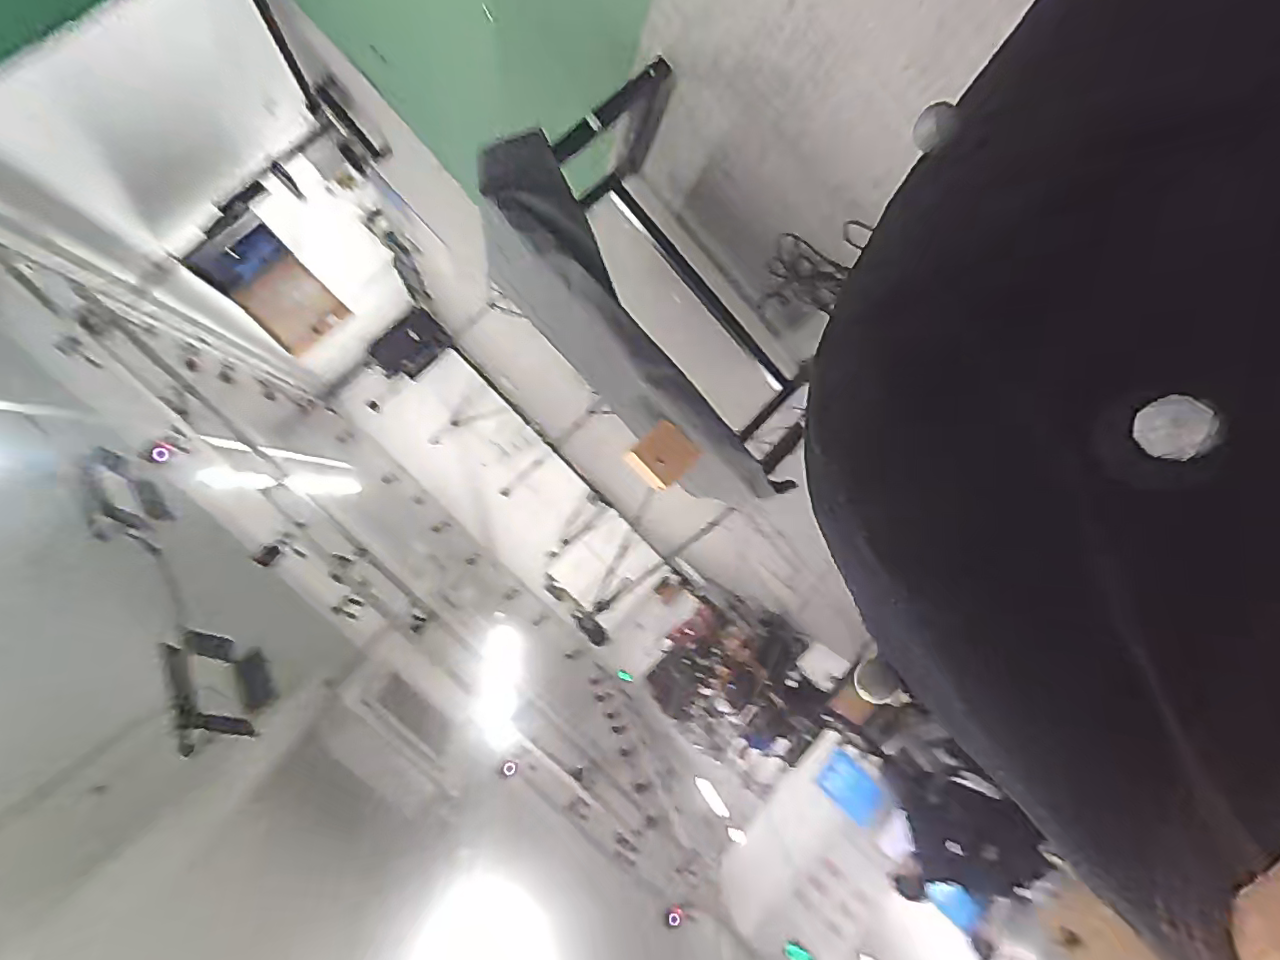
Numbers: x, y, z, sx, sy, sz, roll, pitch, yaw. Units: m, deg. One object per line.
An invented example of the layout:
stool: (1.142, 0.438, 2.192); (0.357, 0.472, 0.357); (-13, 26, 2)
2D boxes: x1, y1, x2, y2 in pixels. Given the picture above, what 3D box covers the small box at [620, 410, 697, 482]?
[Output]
small box: (0.063, -0.111, 1.831); (0.179, 0.176, 0.168); (48, 169, -8)
